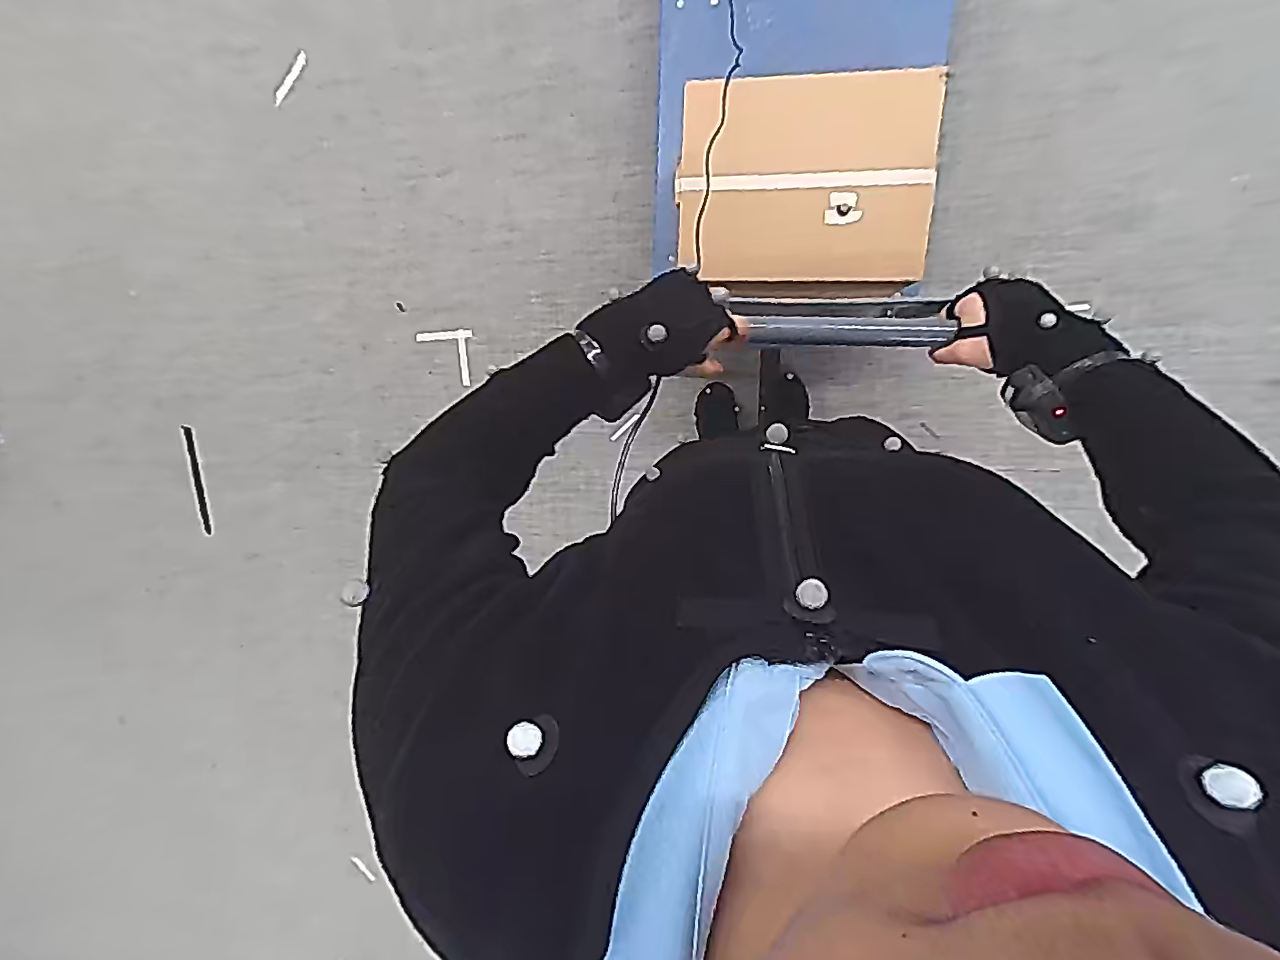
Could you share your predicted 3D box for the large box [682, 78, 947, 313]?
[{"bbox_3d":[0.291,-0.495,1.022,0.408,0.320,0.320,3,102,8],"label":"large box"}]
